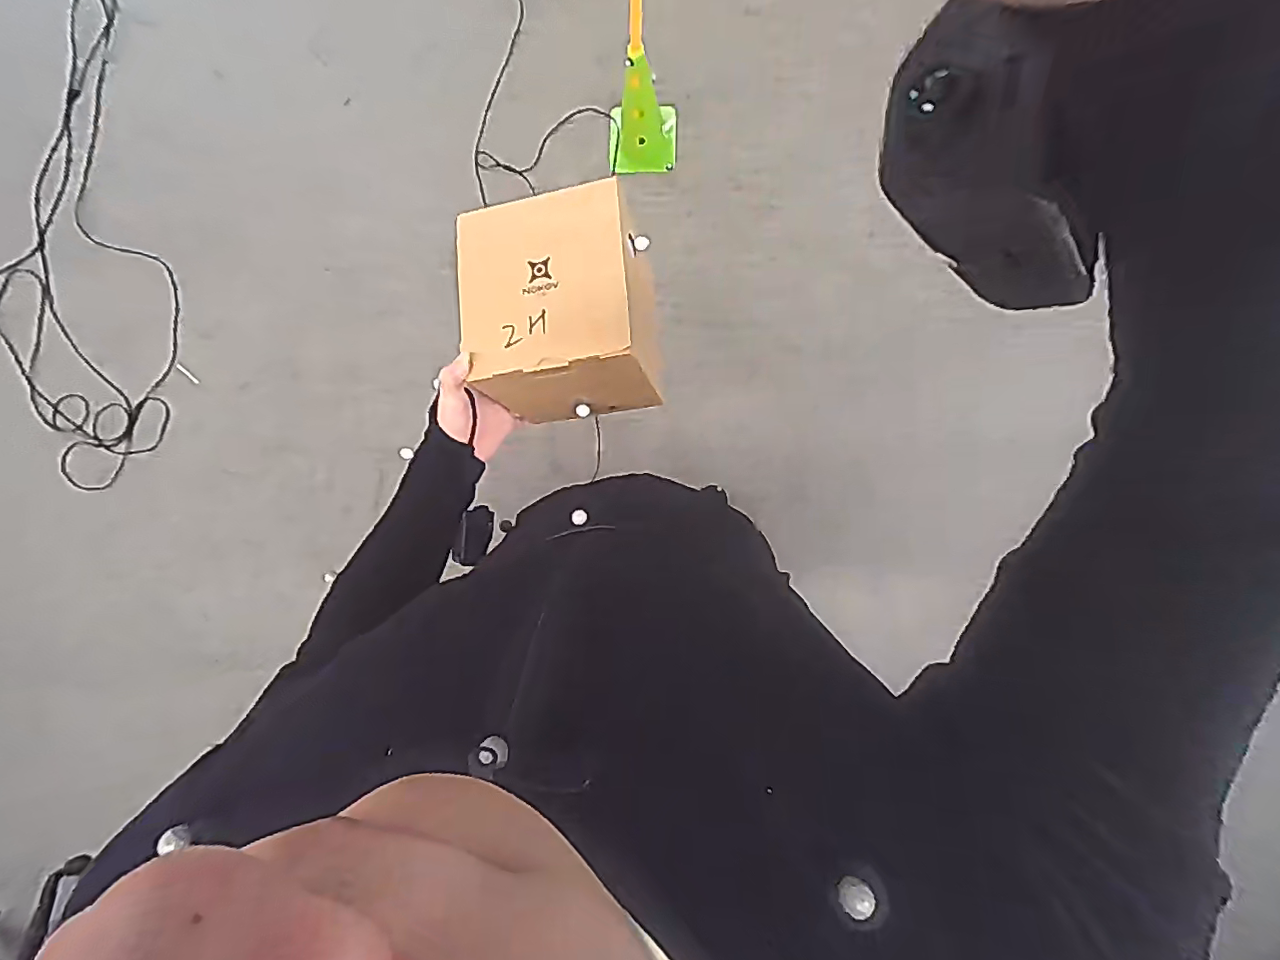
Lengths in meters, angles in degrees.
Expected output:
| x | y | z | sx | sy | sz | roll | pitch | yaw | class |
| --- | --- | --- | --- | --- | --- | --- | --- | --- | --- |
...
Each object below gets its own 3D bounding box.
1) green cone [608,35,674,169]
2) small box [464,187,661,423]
| x | y | z | sx | sy | sz | roll | pitch | yaw | class |
| --- | --- | --- | --- | --- | --- | --- | --- | --- | --- |
| -0.009 | -1.047 | 1.469 | 0.202 | 0.368 | 0.200 | 0 | 90 | 4 | green cone |
| -0.075 | -0.174 | 0.590 | 0.168 | 0.176 | 0.179 | -6 | 81 | 11 | small box |
